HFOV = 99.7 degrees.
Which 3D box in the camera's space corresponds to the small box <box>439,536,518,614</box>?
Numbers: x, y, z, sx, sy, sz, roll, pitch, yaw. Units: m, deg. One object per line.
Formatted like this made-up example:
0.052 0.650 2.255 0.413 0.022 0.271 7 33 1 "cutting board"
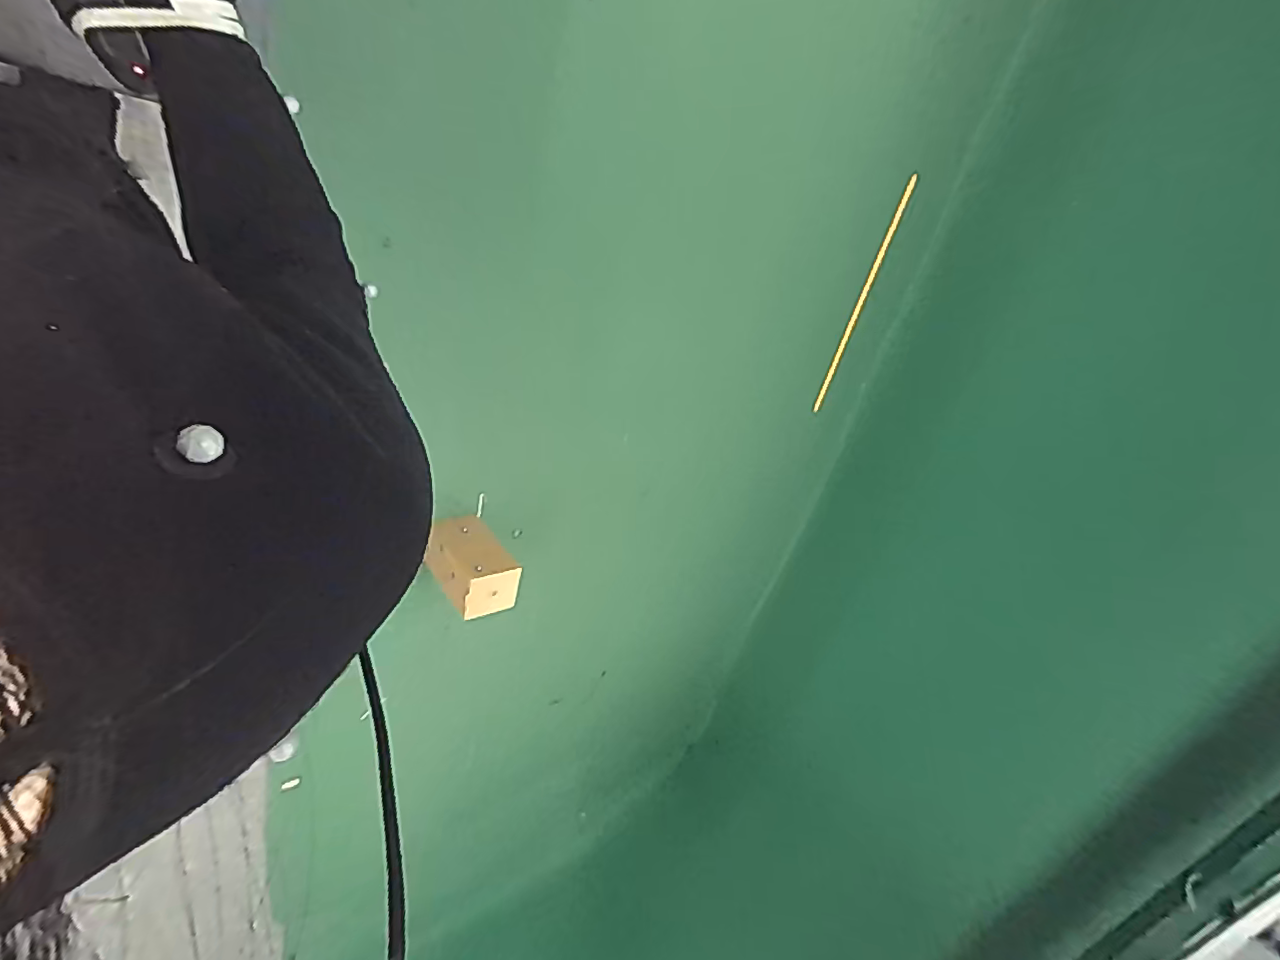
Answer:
-0.526 0.299 1.753 0.179 0.176 0.168 -7 125 -42 "small box"
